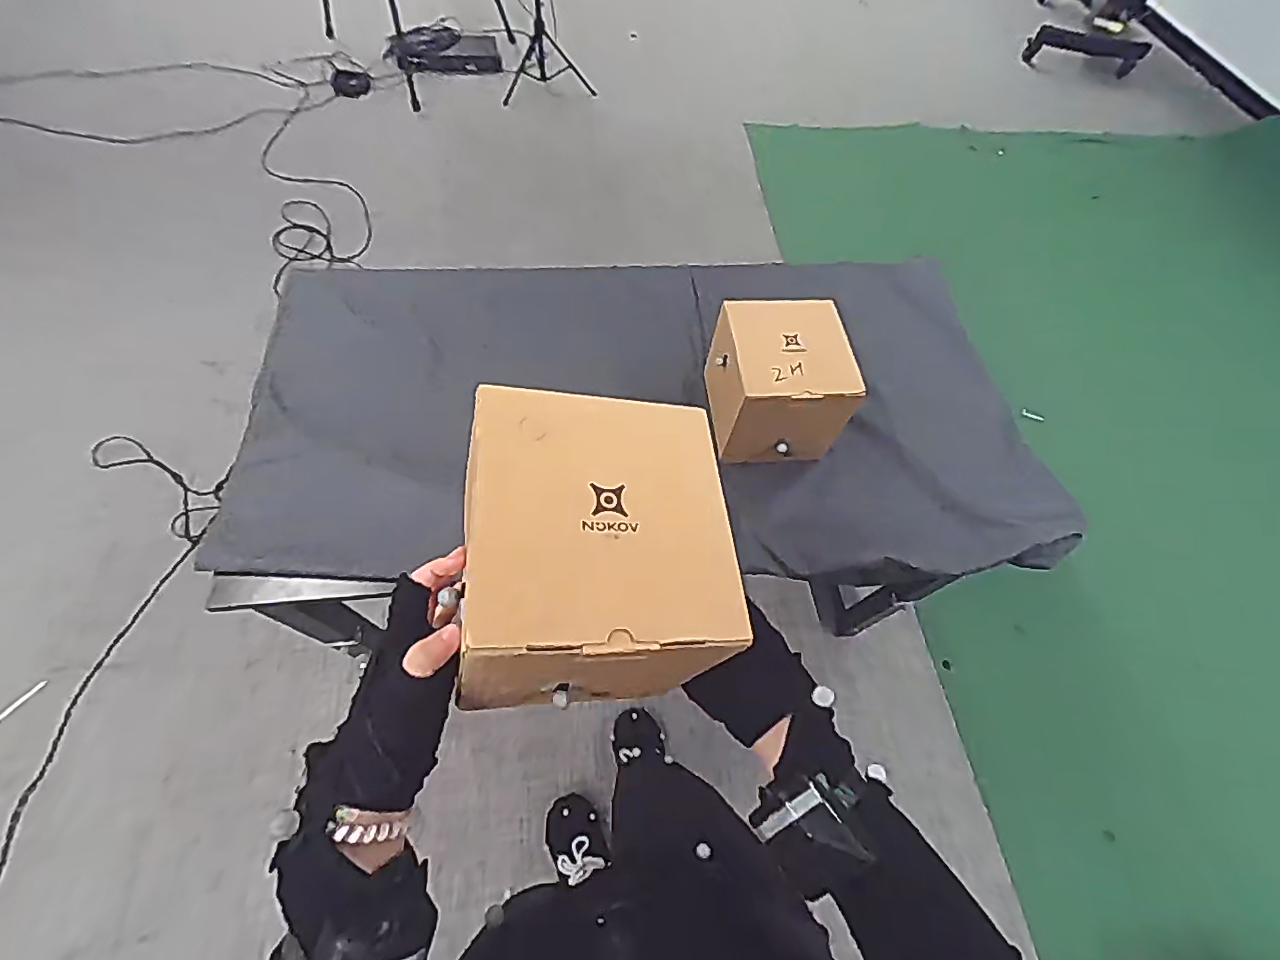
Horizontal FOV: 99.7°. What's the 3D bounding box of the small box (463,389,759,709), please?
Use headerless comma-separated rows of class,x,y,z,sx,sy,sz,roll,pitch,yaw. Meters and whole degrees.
small box,-0.039,0.061,0.404,0.168,0.176,0.179,4,59,-19

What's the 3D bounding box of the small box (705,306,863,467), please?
small box,0.200,-0.137,0.812,0.168,0.176,0.179,-2,62,-7
